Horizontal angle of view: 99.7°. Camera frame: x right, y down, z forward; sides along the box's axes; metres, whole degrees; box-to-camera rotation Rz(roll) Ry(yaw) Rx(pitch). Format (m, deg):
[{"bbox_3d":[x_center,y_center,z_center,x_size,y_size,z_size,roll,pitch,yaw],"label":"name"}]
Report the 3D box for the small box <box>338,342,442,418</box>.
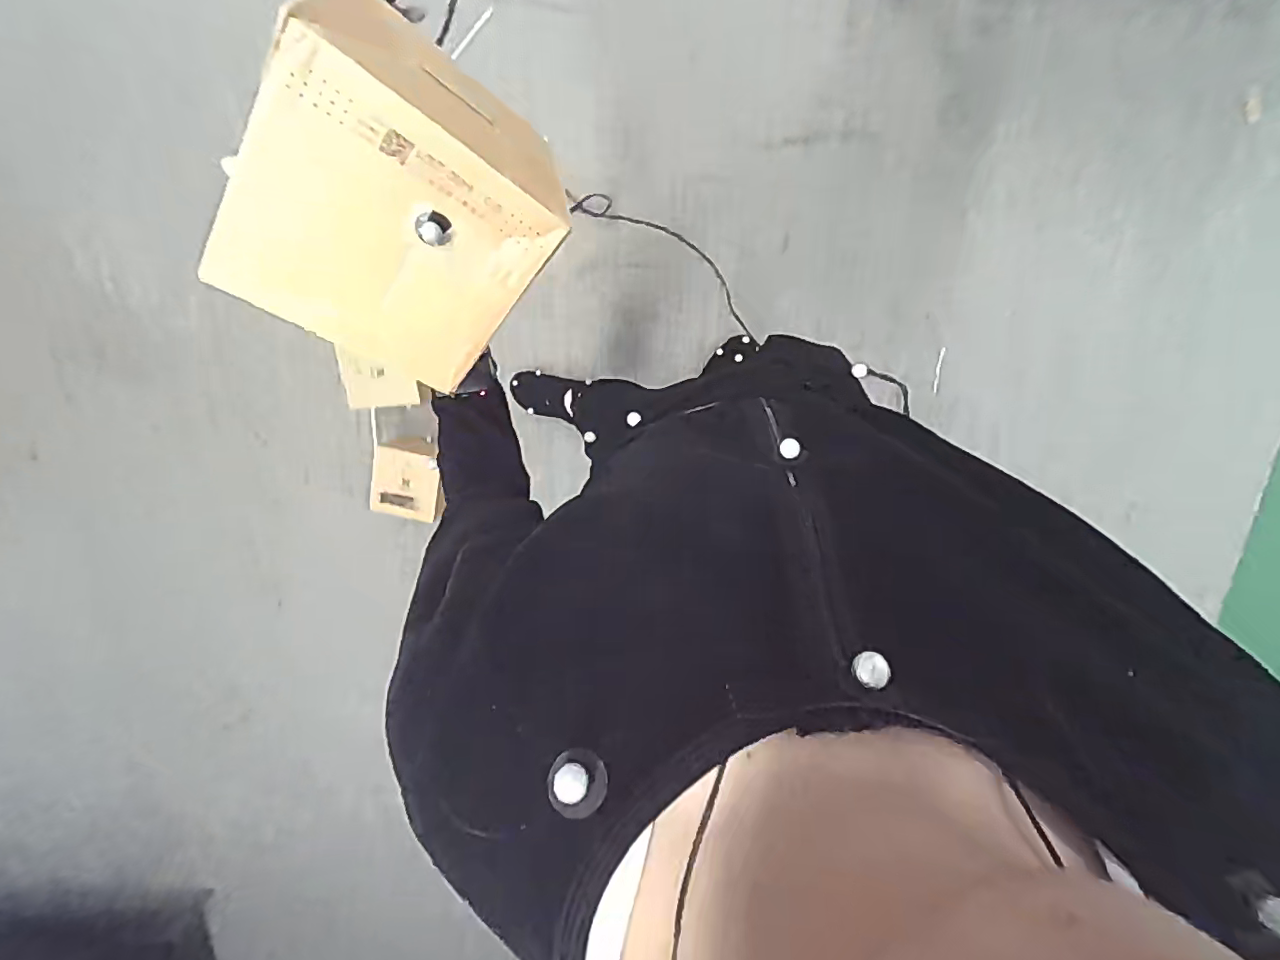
[{"bbox_3d":[-0.611,-0.255,1.351,0.179,0.176,0.168,-5,105,2],"label":"small box"}]
